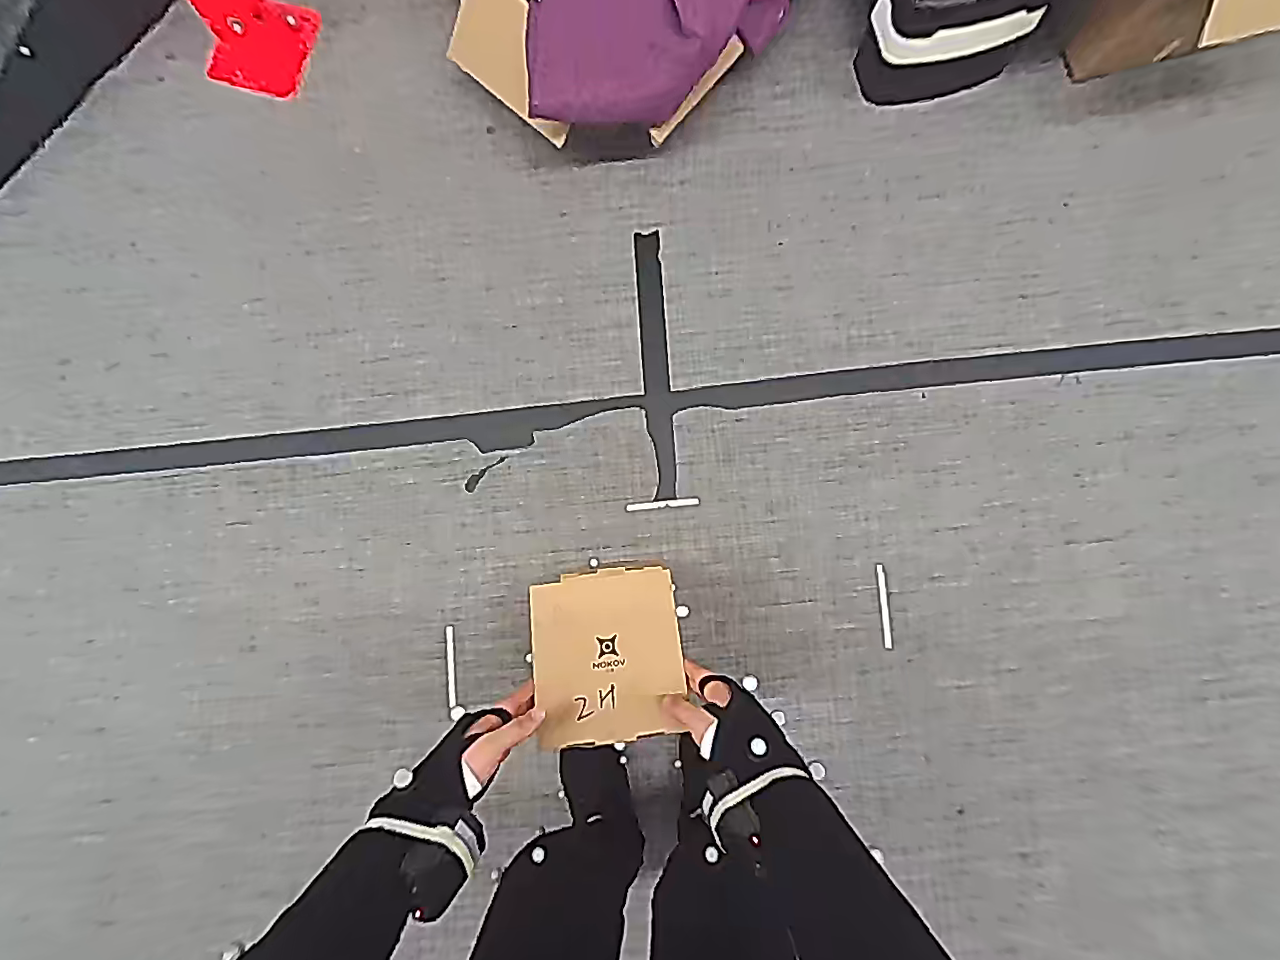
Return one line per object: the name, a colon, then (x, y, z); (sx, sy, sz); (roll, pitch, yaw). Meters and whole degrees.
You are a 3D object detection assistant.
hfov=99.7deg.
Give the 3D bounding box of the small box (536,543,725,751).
small box: (-0.014, 0.182, 0.581); (0.168, 0.176, 0.179); (-7, 67, -2)
